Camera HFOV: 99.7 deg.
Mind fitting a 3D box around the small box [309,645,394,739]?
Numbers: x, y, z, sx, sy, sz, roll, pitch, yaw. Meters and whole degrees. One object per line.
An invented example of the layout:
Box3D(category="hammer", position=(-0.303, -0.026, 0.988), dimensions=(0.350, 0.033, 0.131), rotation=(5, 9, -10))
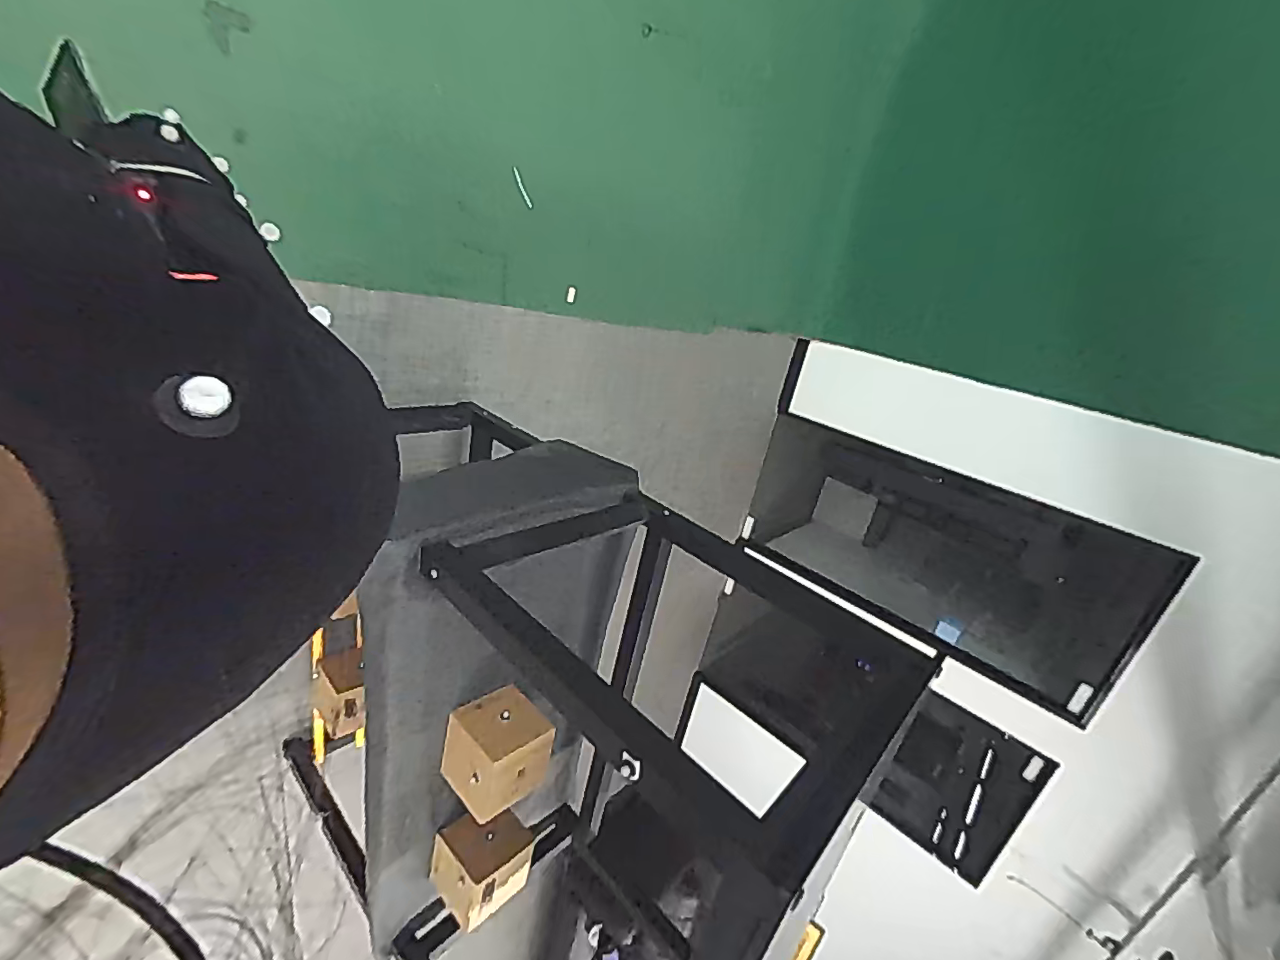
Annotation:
Box3D(category="small box", position=(-0.868, 0.628, 1.621), dimensions=(0.179, 0.176, 0.168), rotation=(-8, 119, -50))

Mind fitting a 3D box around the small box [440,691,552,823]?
Box3D(category="small box", position=(-0.323, 0.599, 1.202), dimensions=(0.168, 0.176, 0.179), rotation=(-9, 119, -50))
